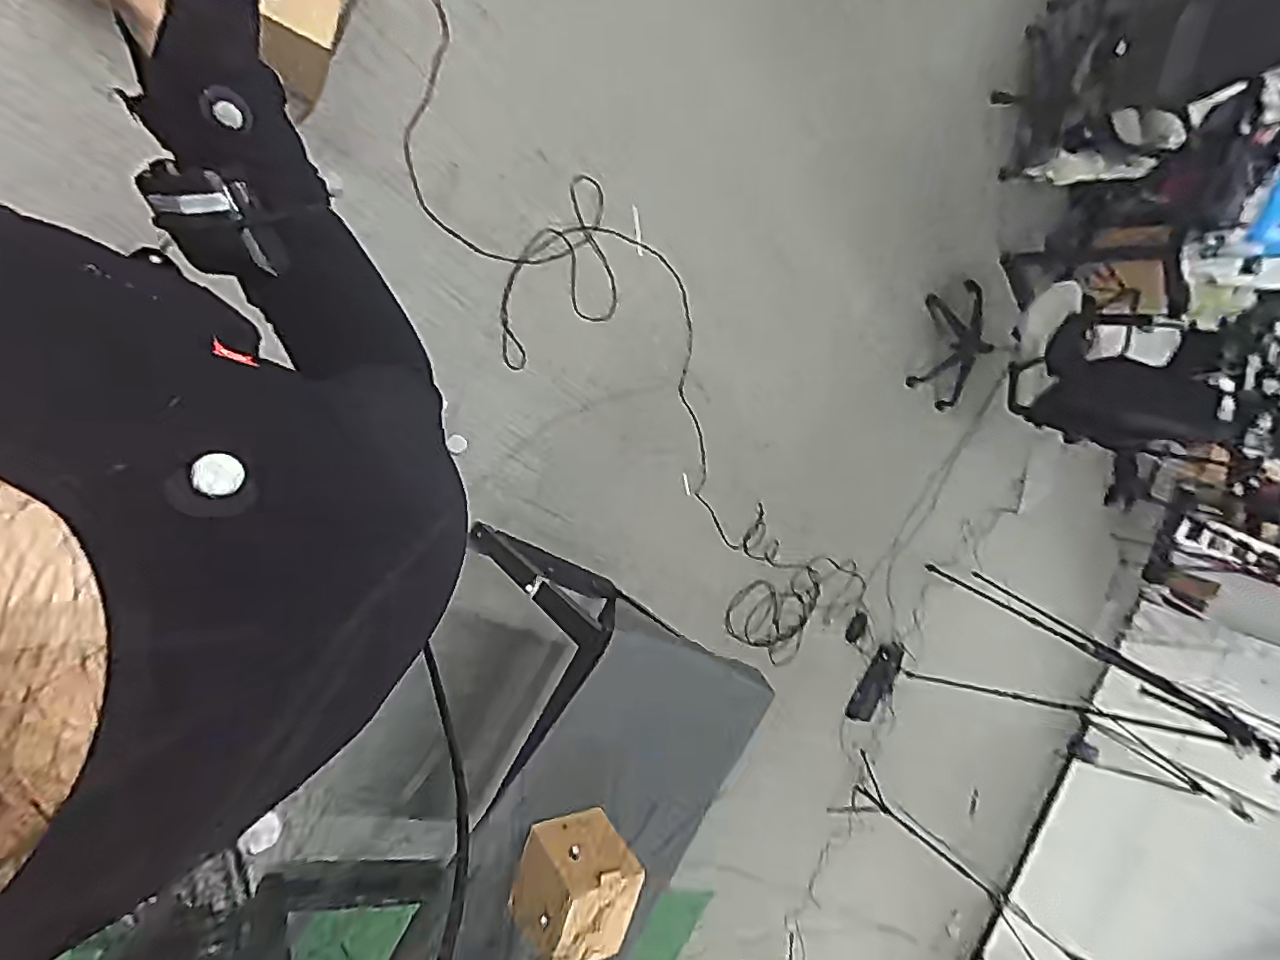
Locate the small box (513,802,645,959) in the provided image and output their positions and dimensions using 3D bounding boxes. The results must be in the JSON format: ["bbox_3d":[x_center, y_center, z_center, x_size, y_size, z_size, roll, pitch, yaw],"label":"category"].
[{"bbox_3d":[-0.123,0.748,1.029,0.168,0.176,0.179,13,98,-38],"label":"small box"}]
